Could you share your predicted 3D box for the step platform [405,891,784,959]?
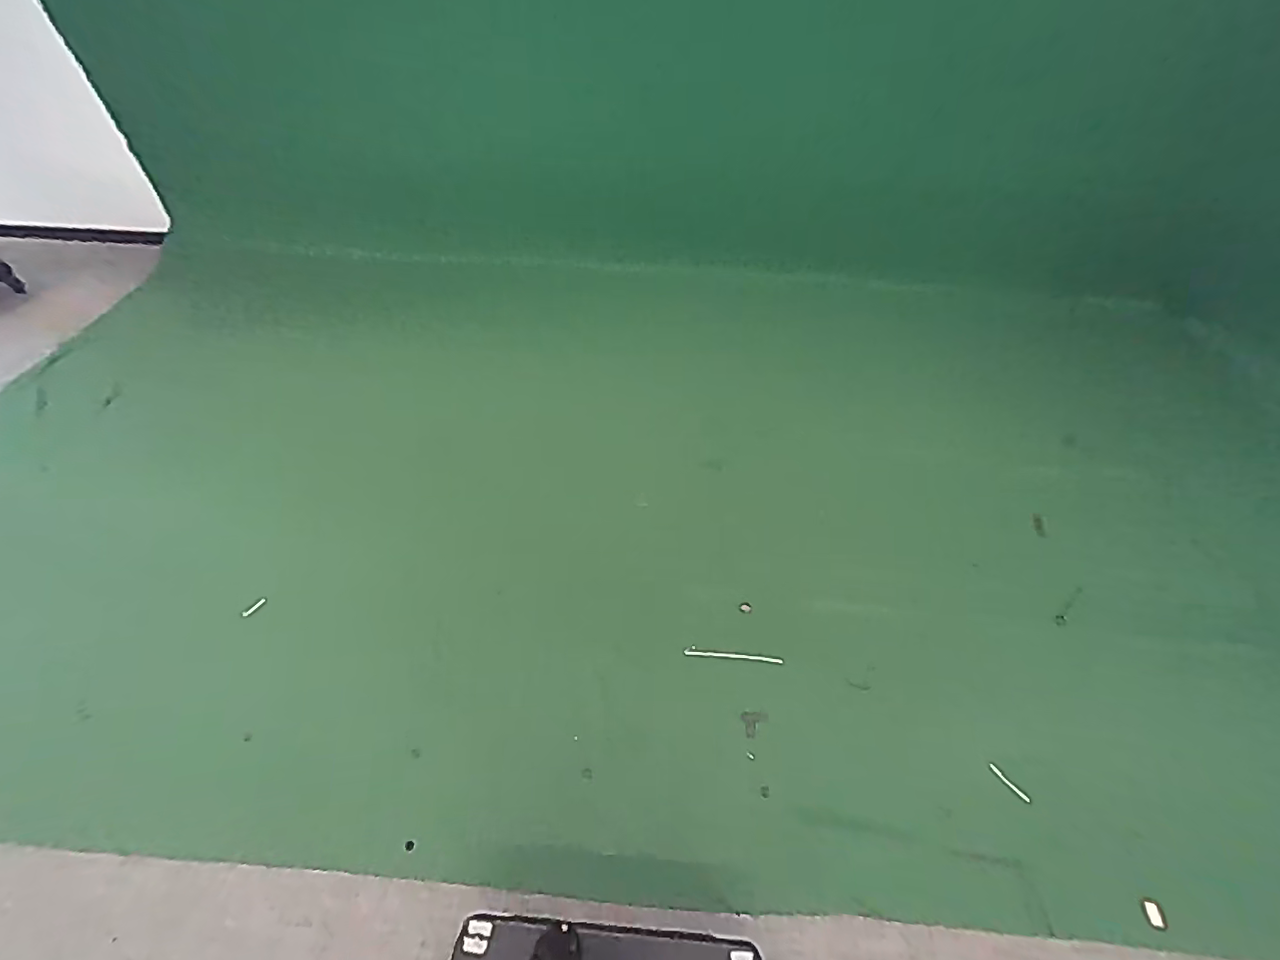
[{"bbox_3d":[-0.082,0.961,0.992,0.684,0.204,0.286,3,50,2],"label":"step platform"}]
